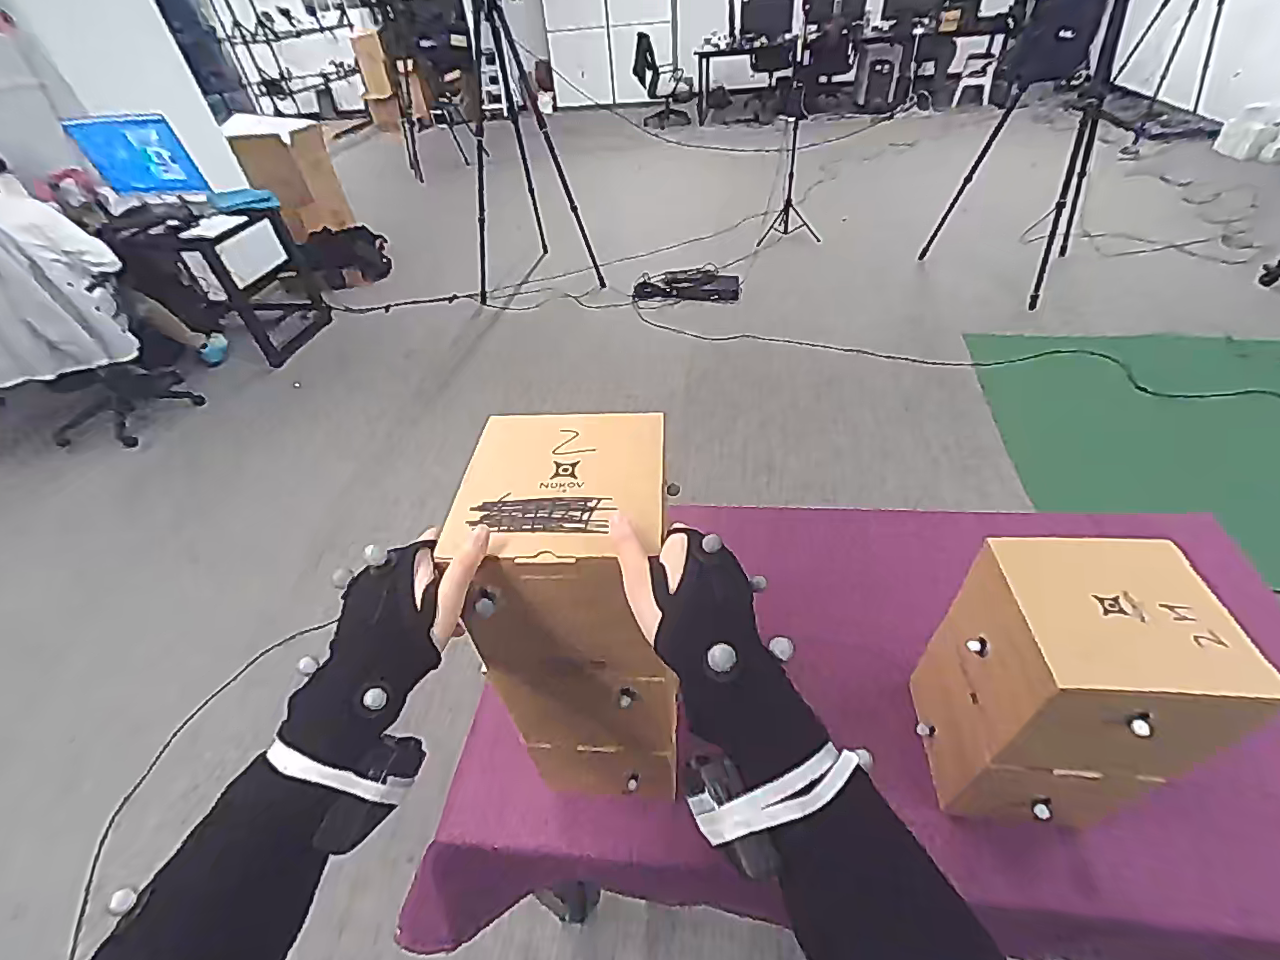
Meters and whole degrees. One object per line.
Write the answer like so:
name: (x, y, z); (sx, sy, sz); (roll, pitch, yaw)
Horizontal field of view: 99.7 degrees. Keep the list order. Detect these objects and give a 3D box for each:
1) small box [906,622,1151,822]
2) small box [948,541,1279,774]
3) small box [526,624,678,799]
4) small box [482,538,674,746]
small box: (0.450, 0.299, 0.666); (0.168, 0.176, 0.179); (2, 44, 8)
small box: (0.440, 0.180, 0.551); (0.179, 0.176, 0.168); (1, 44, 7)
small box: (-0.037, 0.301, 0.718); (0.168, 0.176, 0.179); (1, 43, 6)
small box: (-0.053, 0.183, 0.608); (0.179, 0.176, 0.168); (0, 44, 4)
